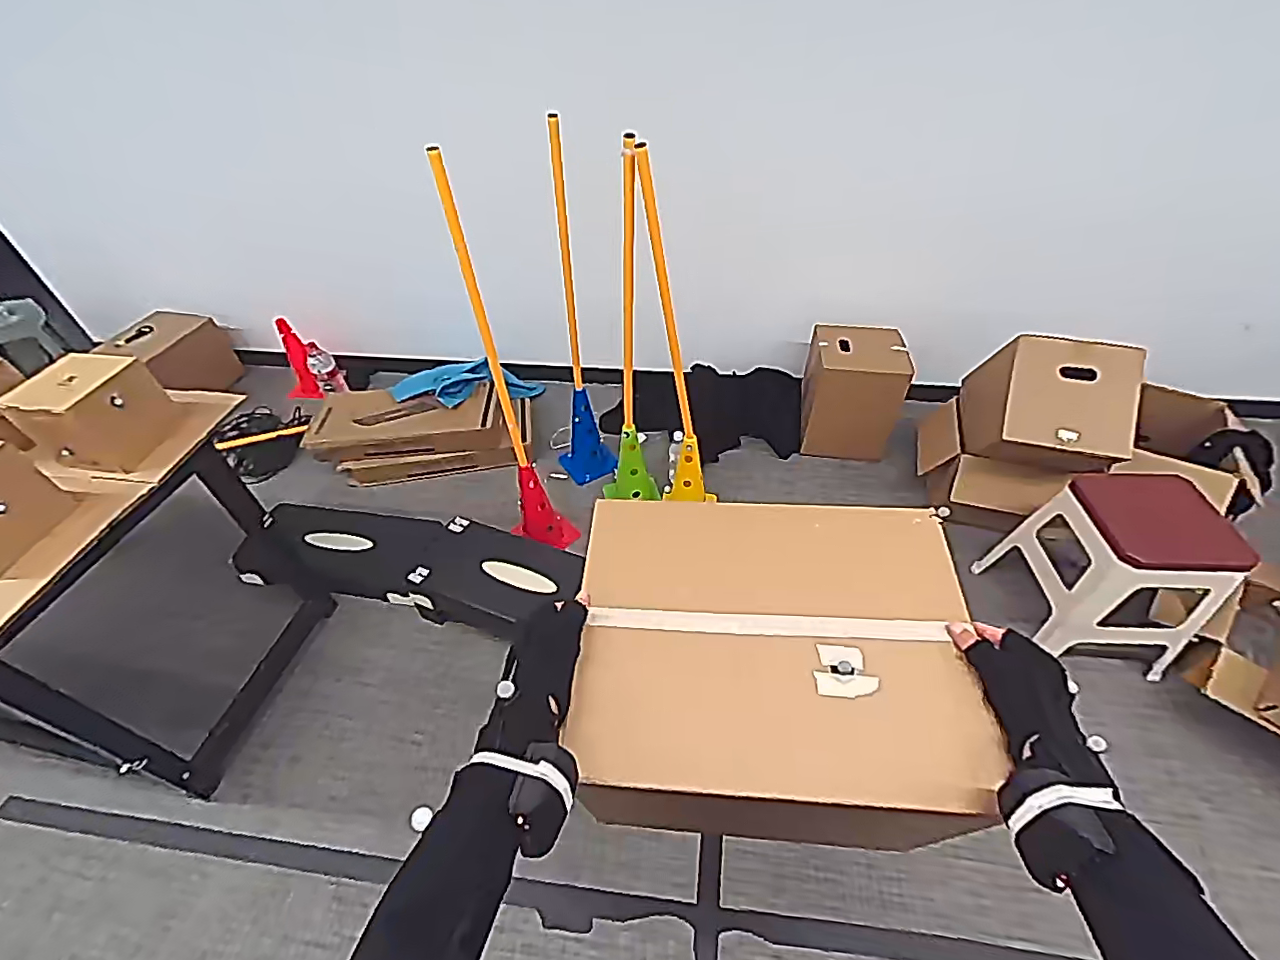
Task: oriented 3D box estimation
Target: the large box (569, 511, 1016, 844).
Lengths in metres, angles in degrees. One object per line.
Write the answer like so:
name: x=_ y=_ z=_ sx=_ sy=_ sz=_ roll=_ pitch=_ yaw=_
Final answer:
large box: x=0.145 y=0.254 z=0.689 sx=0.408 sy=0.320 sz=0.320 roll=1 pitch=52 yaw=5
